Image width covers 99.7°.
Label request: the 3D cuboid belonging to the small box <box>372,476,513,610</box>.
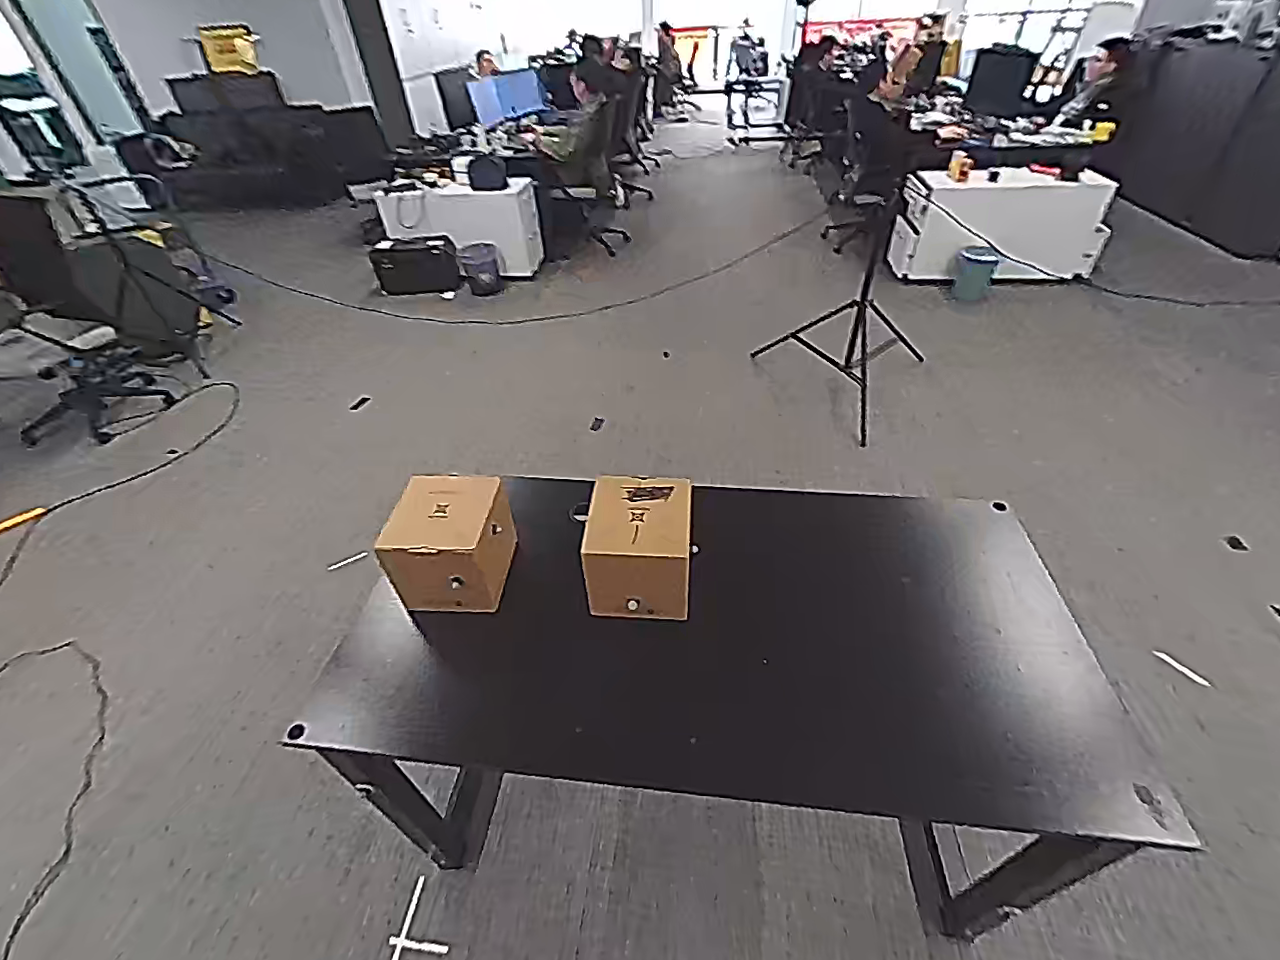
[{"bbox_3d":[-0.330,0.112,0.948,0.168,0.176,0.179,1,41,3],"label":"small box"}]

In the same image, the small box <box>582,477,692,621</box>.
[{"bbox_3d":[0.002,0.115,0.923,0.168,0.176,0.179,2,42,6],"label":"small box"}]
